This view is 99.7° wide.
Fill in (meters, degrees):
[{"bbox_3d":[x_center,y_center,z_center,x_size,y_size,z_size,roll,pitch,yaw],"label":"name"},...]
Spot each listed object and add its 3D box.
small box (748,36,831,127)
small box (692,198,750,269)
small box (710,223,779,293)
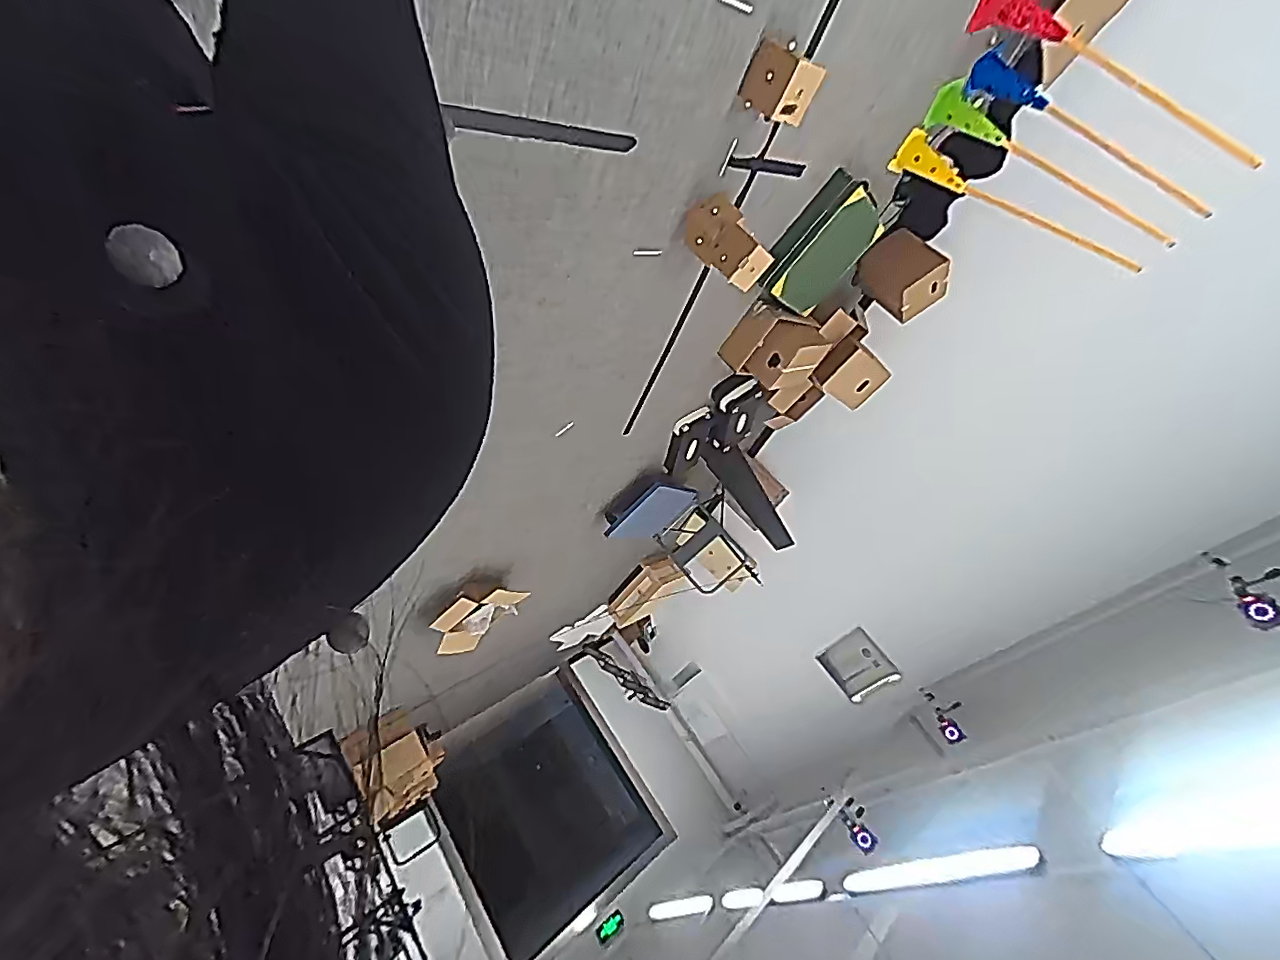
[{"bbox_3d":[0.485,-1.313,1.786,0.168,0.176,0.179,-20,151,-40],"label":"small box"},{"bbox_3d":[0.321,-0.998,2.173,0.168,0.176,0.179,-35,160,-7],"label":"small box"},{"bbox_3d":[0.404,-0.869,2.110,0.168,0.176,0.179,-46,158,25],"label":"small box"}]
